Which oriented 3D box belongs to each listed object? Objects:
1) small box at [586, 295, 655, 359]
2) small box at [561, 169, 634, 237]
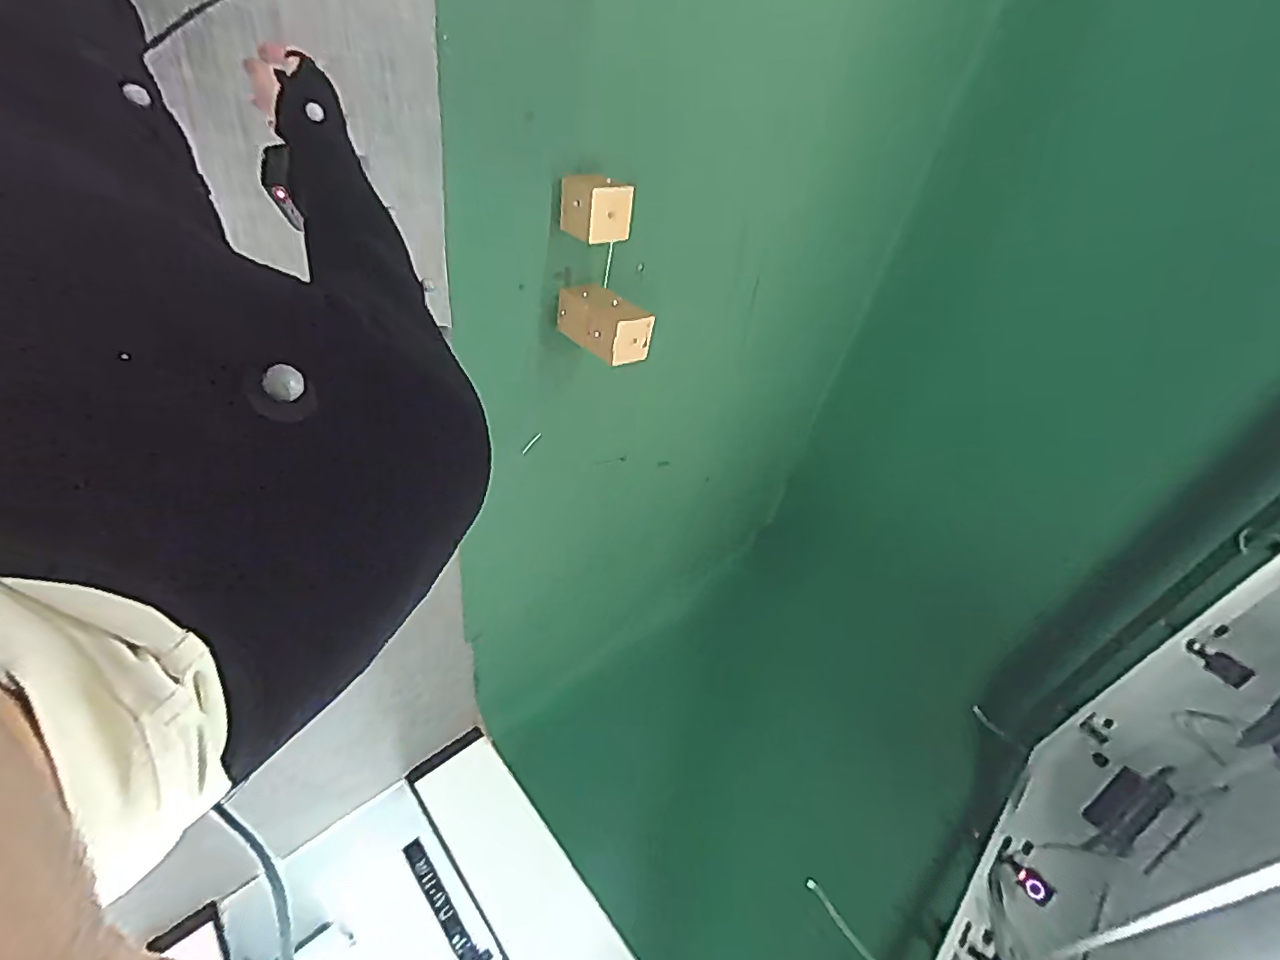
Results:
[{"bbox_3d":[-0.077,-0.557,1.958,0.179,0.176,0.168,-21,139,-38],"label":"small box"},{"bbox_3d":[-0.147,-0.924,1.798,0.179,0.176,0.168,-27,142,-36],"label":"small box"}]
